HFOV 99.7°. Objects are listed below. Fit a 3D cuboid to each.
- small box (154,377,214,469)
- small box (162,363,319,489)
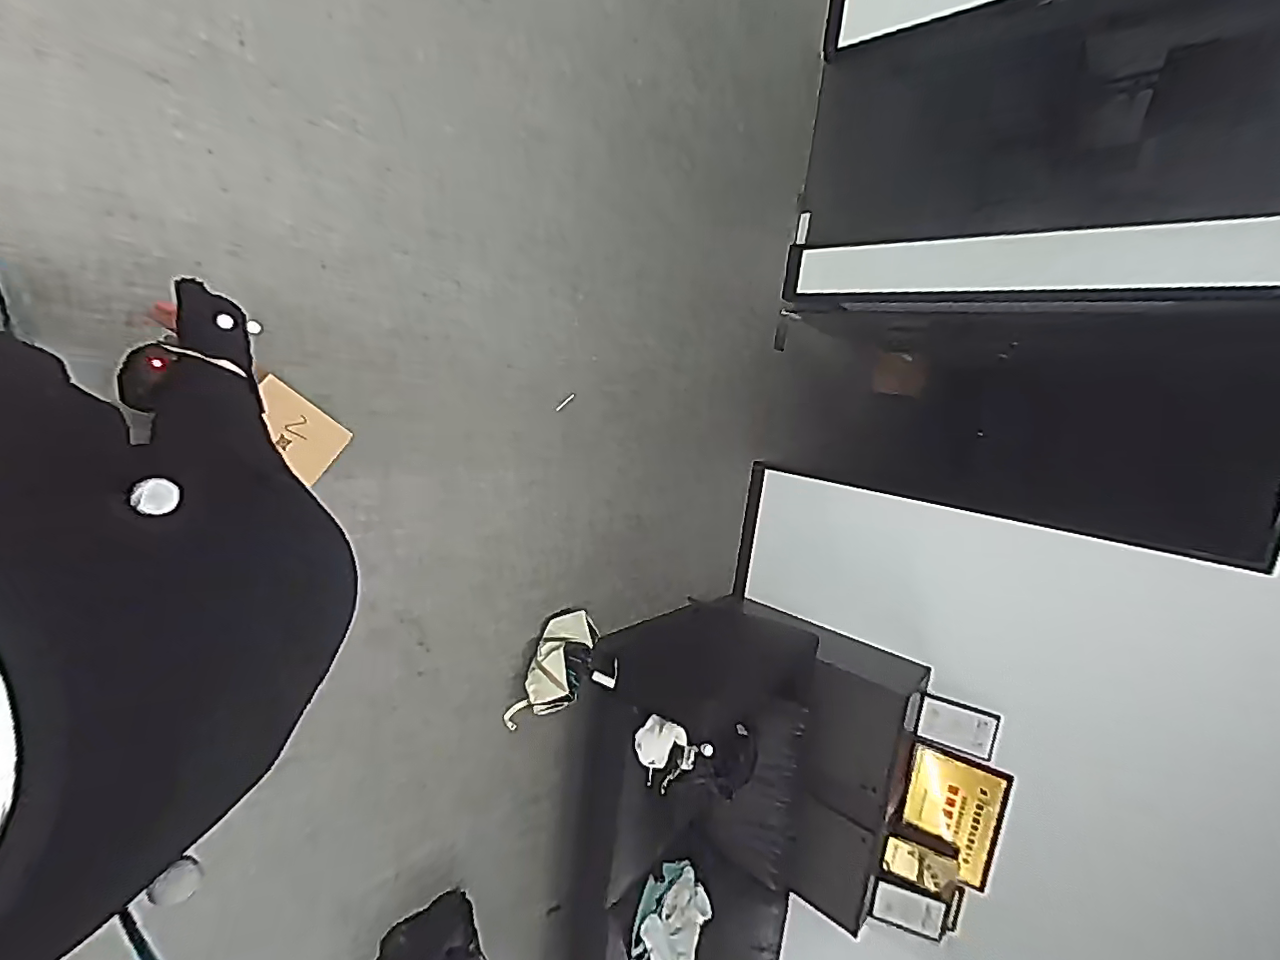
[{"bbox_3d":[-0.896,-0.125,1.141,0.179,0.176,0.168,-12,111,-49],"label":"small box"},{"bbox_3d":[-0.779,-0.110,1.051,0.168,0.176,0.179,42,70,-48],"label":"small box"}]
